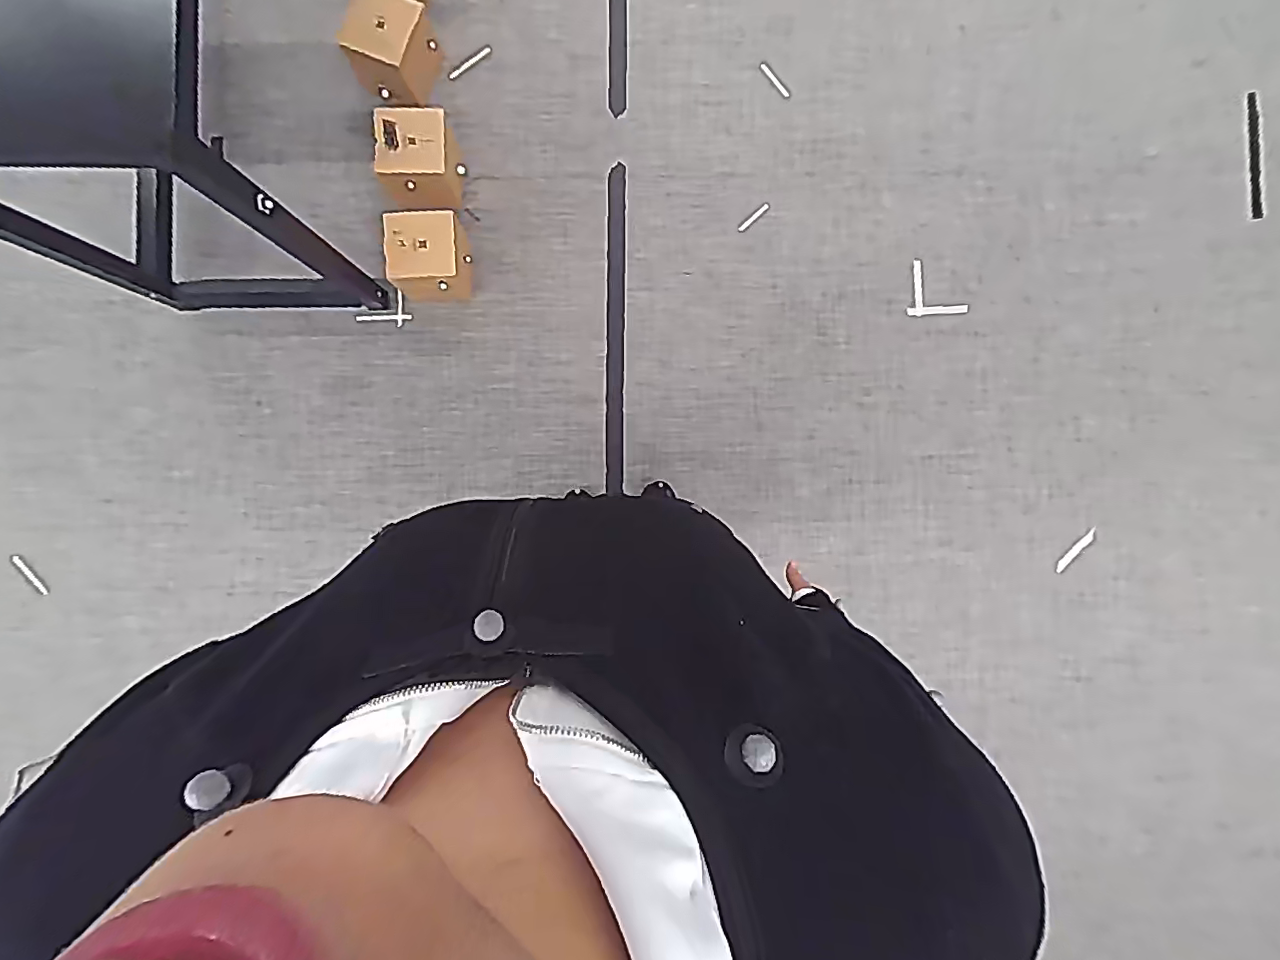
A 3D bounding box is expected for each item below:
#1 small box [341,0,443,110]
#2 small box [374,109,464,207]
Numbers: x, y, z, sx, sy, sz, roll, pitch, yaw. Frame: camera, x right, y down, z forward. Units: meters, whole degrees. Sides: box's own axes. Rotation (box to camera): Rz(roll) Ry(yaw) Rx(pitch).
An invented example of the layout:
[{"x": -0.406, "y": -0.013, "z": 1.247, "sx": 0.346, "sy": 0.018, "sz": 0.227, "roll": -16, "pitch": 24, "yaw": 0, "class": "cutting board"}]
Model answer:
[{"x": -0.645, "y": -1.137, "z": 1.433, "sx": 0.168, "sy": 0.176, "sz": 0.179, "roll": 21, "pitch": 90, "yaw": 0, "class": "small box"}, {"x": -0.578, "y": -0.843, "z": 1.431, "sx": 0.179, "sy": 0.176, "sz": 0.168, "roll": -1, "pitch": 90, "yaw": -3, "class": "small box"}]
